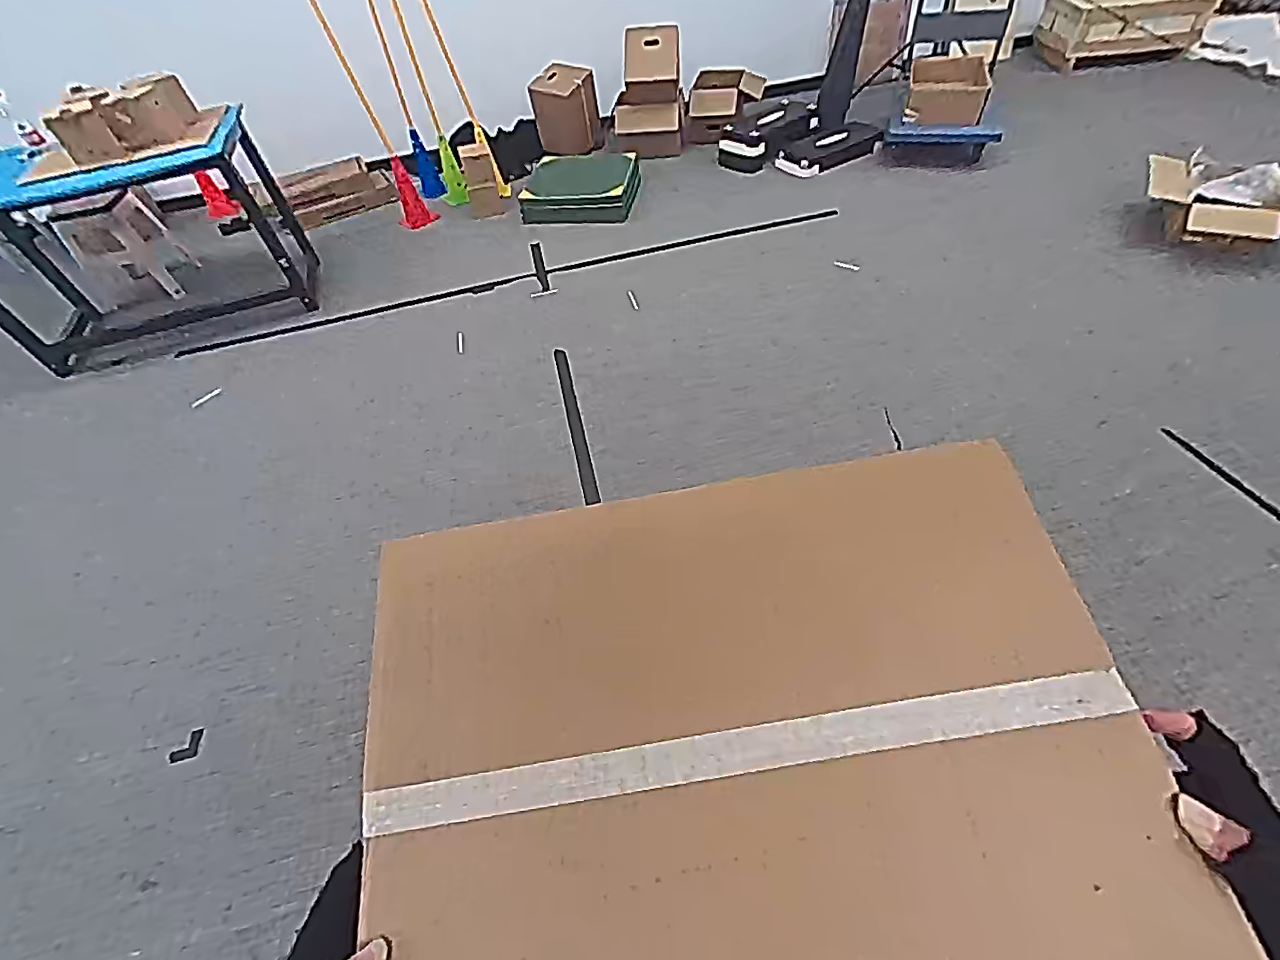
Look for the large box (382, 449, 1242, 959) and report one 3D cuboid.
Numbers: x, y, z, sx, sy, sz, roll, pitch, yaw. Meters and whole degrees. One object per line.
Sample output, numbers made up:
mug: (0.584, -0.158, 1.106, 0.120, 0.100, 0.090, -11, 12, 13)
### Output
large box: (0.069, 0.214, 0.429, 0.408, 0.320, 0.320, -10, 64, 1)
